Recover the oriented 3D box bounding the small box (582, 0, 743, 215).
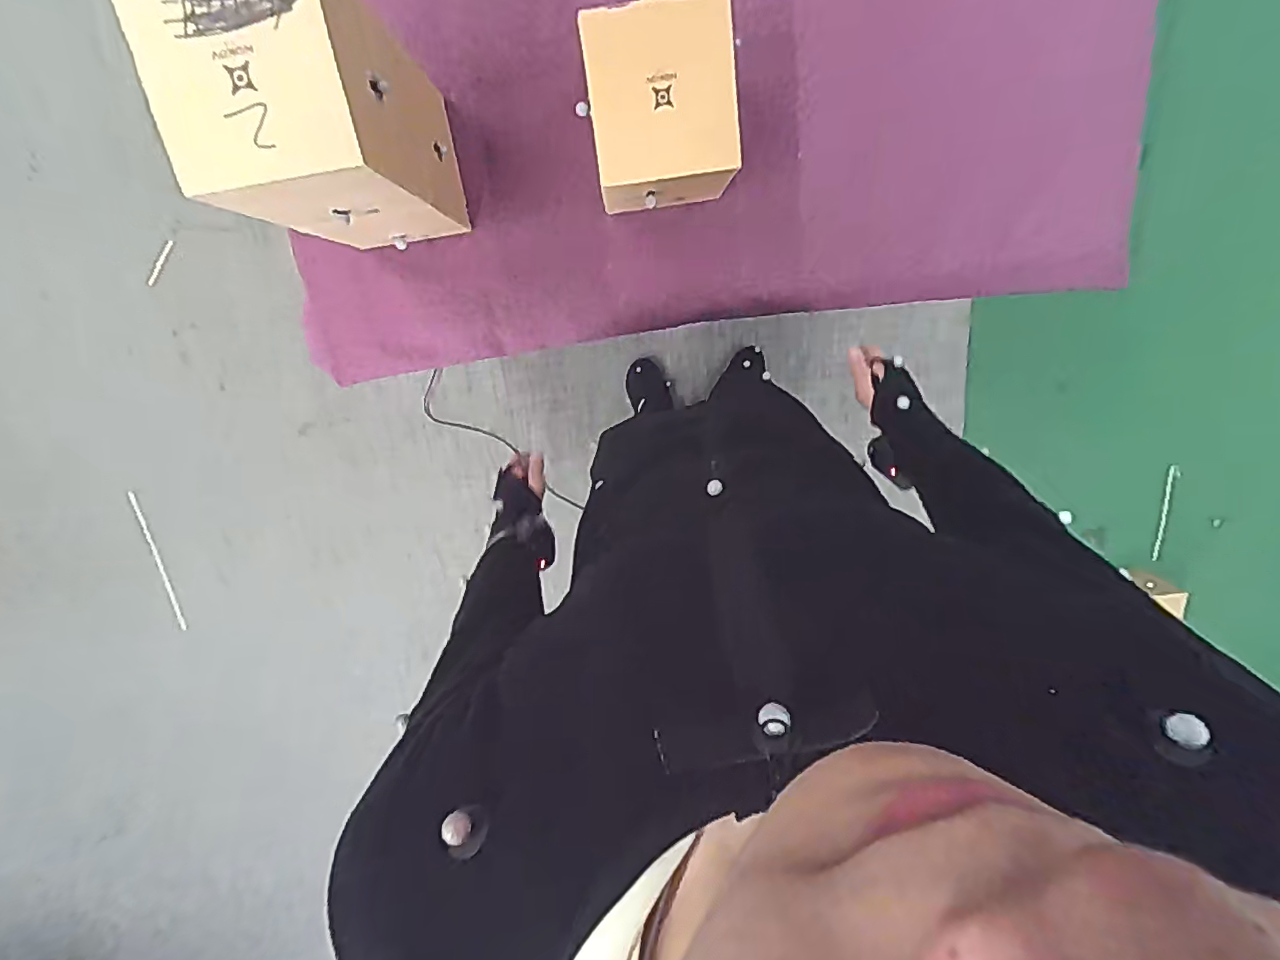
[{"bbox_3d":[0.028,-0.445,0.678,0.168,0.176,0.179,-8,104,1],"label":"small box"}]

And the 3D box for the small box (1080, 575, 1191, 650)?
[{"bbox_3d":[1.533,0.406,1.683,0.179,0.176,0.168,-4,105,0],"label":"small box"}]

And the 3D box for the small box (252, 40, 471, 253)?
[{"bbox_3d":[-0.329,-0.399,0.679,0.168,0.176,0.179,-9,106,1],"label":"small box"}]
